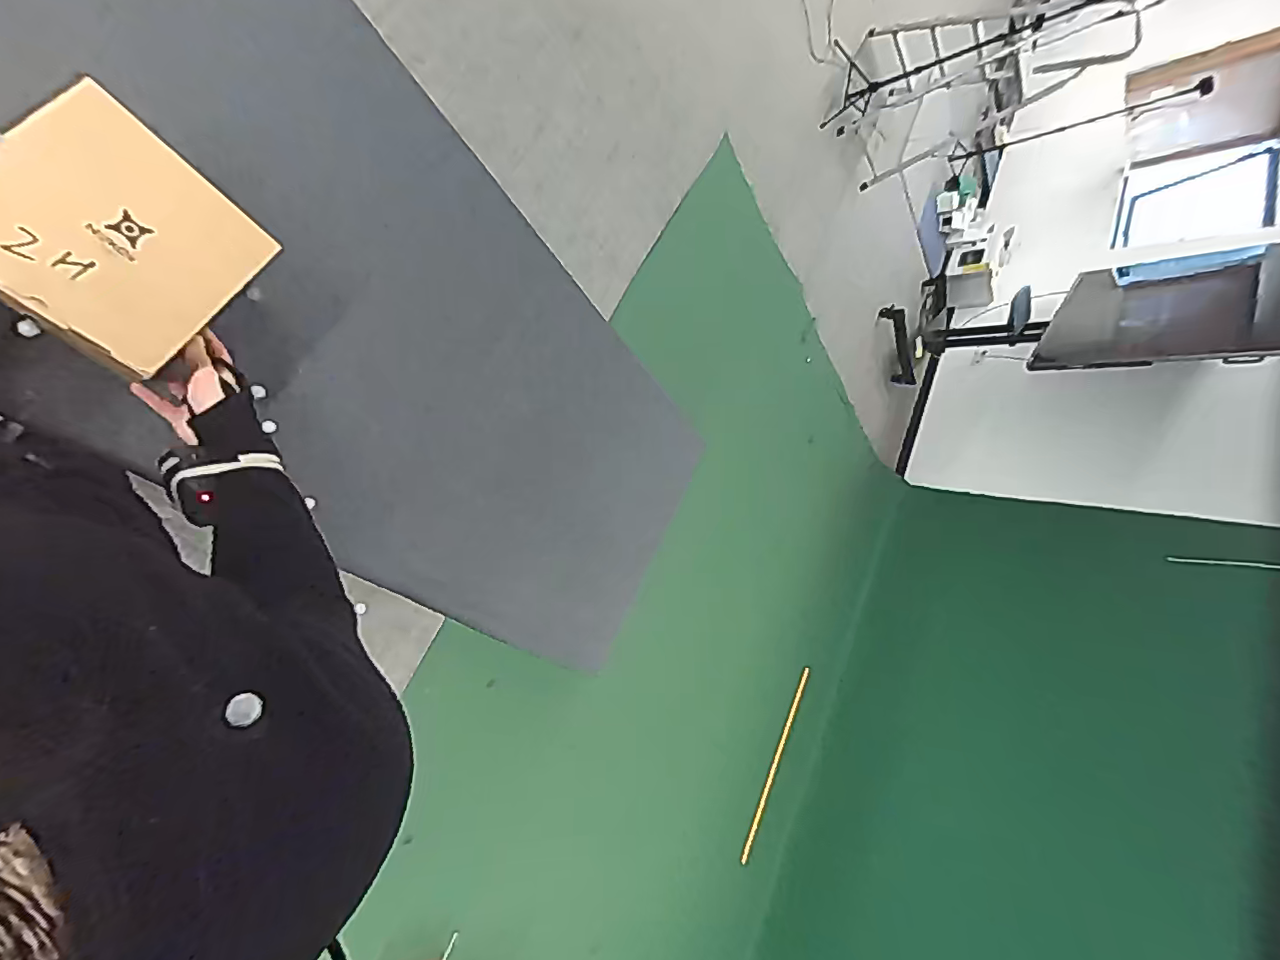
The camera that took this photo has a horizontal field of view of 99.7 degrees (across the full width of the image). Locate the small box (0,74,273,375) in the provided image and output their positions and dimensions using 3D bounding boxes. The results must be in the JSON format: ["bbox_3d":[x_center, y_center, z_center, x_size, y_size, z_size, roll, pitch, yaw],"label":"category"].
[{"bbox_3d":[-0.495,-0.215,0.496,0.168,0.176,0.179,49,60,-41],"label":"small box"}]
